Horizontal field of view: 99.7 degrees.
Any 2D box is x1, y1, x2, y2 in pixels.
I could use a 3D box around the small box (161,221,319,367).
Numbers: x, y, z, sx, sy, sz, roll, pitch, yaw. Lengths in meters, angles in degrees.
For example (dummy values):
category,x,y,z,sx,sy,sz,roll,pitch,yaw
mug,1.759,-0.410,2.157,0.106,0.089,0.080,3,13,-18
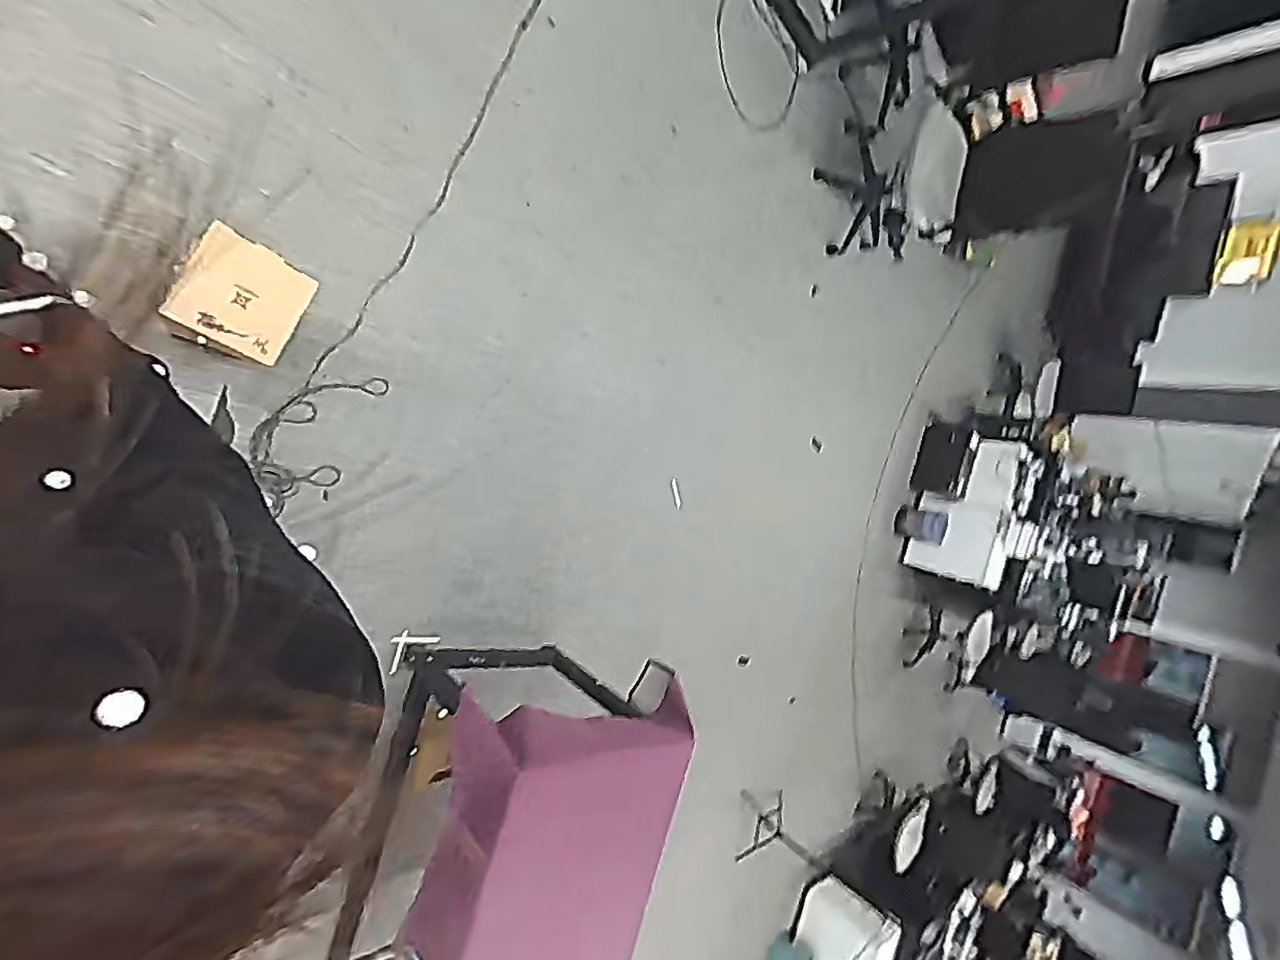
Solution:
category,x,y,z,sx,sy,sz,roll,pitch,yaw
small box,-0.713,-0.319,0.958,0.168,0.176,0.179,32,78,-42
